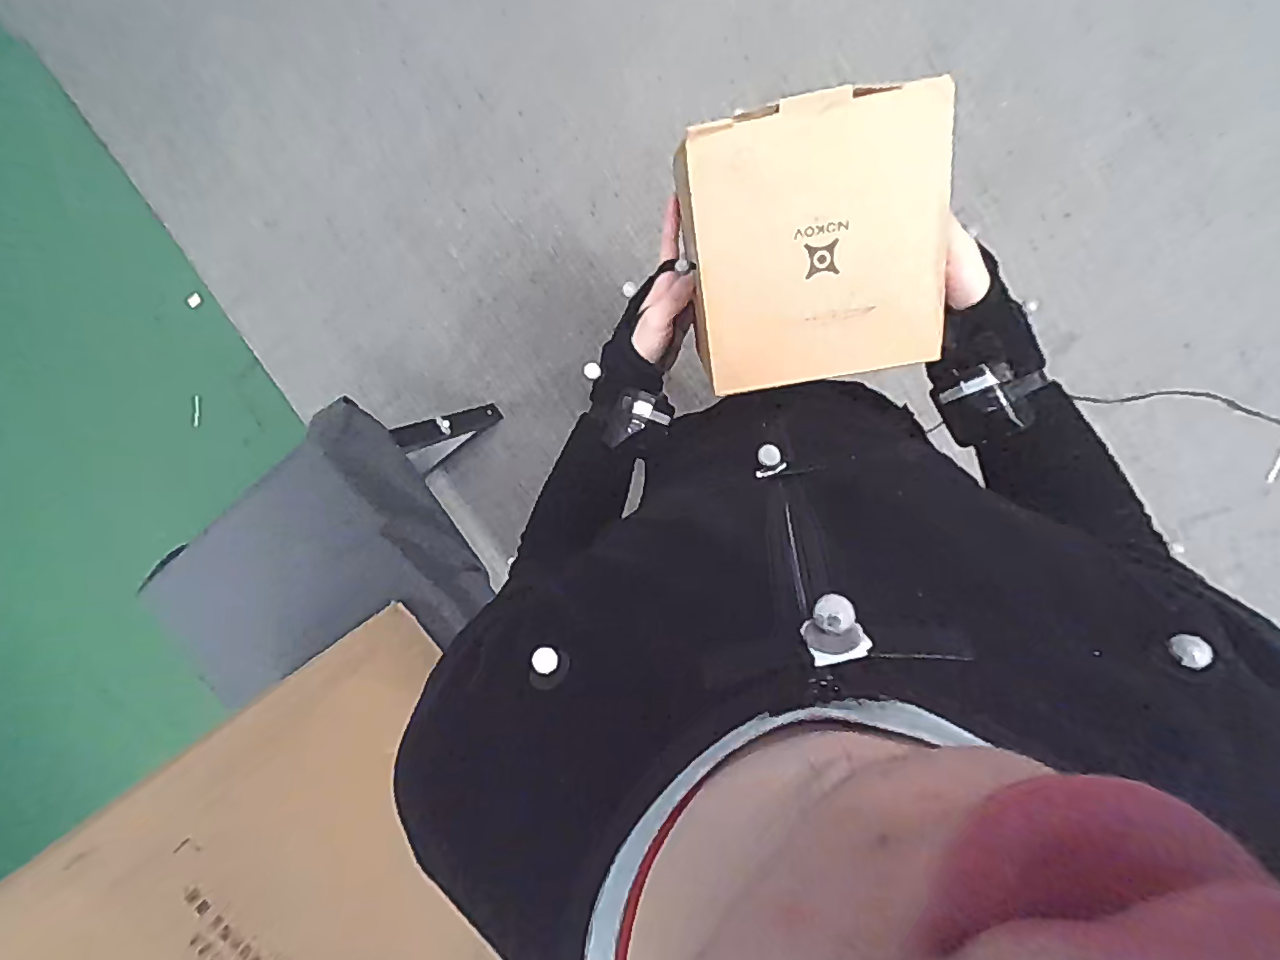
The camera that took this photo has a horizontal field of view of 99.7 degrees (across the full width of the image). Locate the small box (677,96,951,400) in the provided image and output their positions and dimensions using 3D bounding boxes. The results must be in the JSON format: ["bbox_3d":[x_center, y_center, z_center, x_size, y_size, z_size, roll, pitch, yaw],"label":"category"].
[{"bbox_3d":[0.124,-0.181,0.444,0.168,0.176,0.179,-8,115,4],"label":"small box"}]
